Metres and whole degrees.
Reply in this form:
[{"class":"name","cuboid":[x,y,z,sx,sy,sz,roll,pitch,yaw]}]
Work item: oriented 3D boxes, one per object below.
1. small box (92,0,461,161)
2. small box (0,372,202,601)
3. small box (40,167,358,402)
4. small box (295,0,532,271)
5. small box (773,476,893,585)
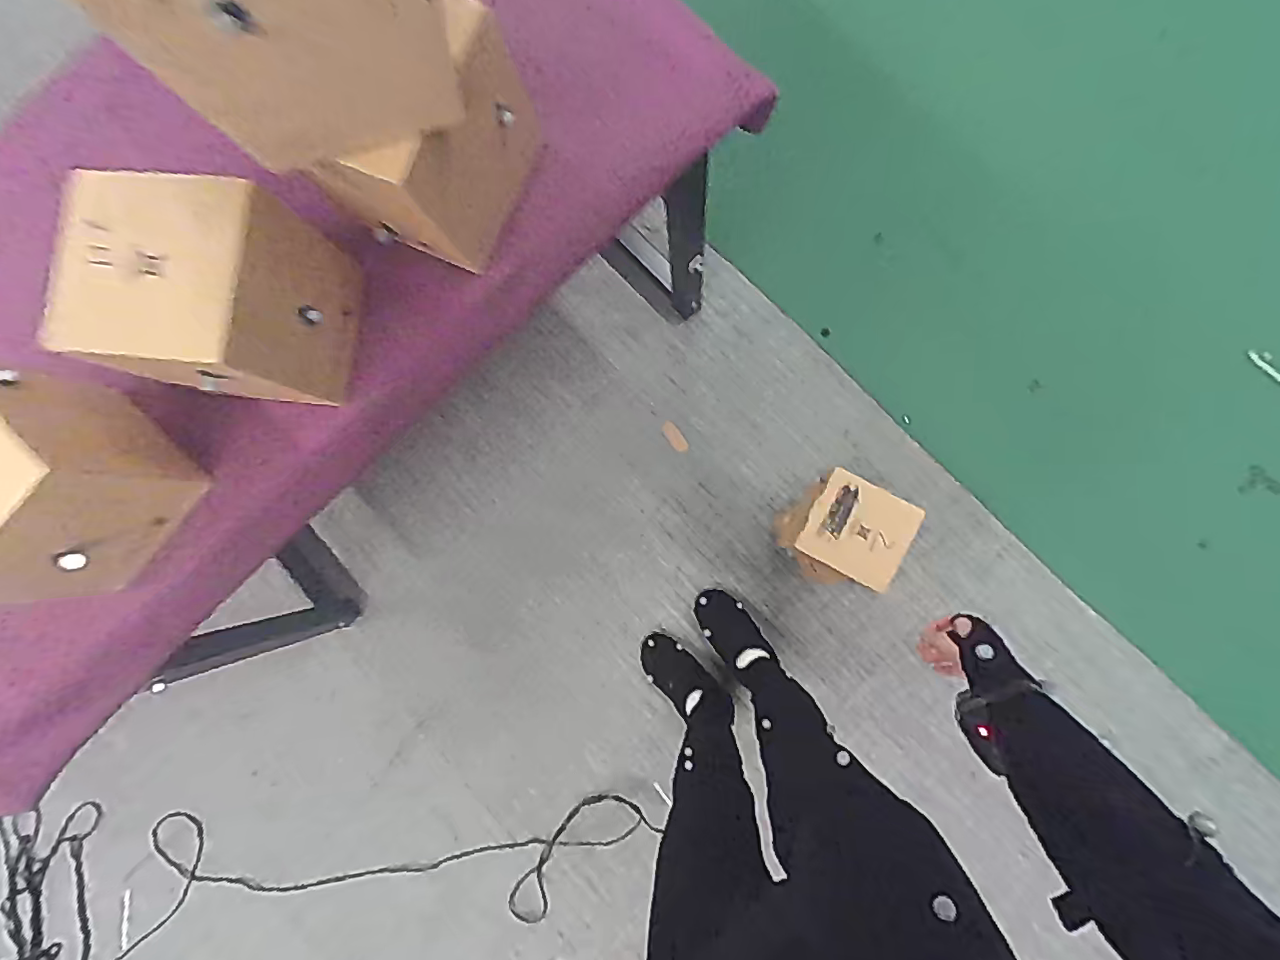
[{"class":"small box","cuboid":[-0.253,-0.366,0.383,0.179,0.176,0.168,-11,83,5]},{"class":"small box","cuboid":[-0.614,0.004,0.551,0.179,0.176,0.168,40,90,8]},{"class":"small box","cuboid":[-0.419,-0.181,0.546,0.179,0.176,0.168,6,85,6]},{"class":"small box","cuboid":[-0.227,-0.349,0.544,0.168,0.176,0.179,25,89,8]},{"class":"small box","cuboid":[0.409,0.111,1.189,0.179,0.176,0.168,-33,84,2]}]
